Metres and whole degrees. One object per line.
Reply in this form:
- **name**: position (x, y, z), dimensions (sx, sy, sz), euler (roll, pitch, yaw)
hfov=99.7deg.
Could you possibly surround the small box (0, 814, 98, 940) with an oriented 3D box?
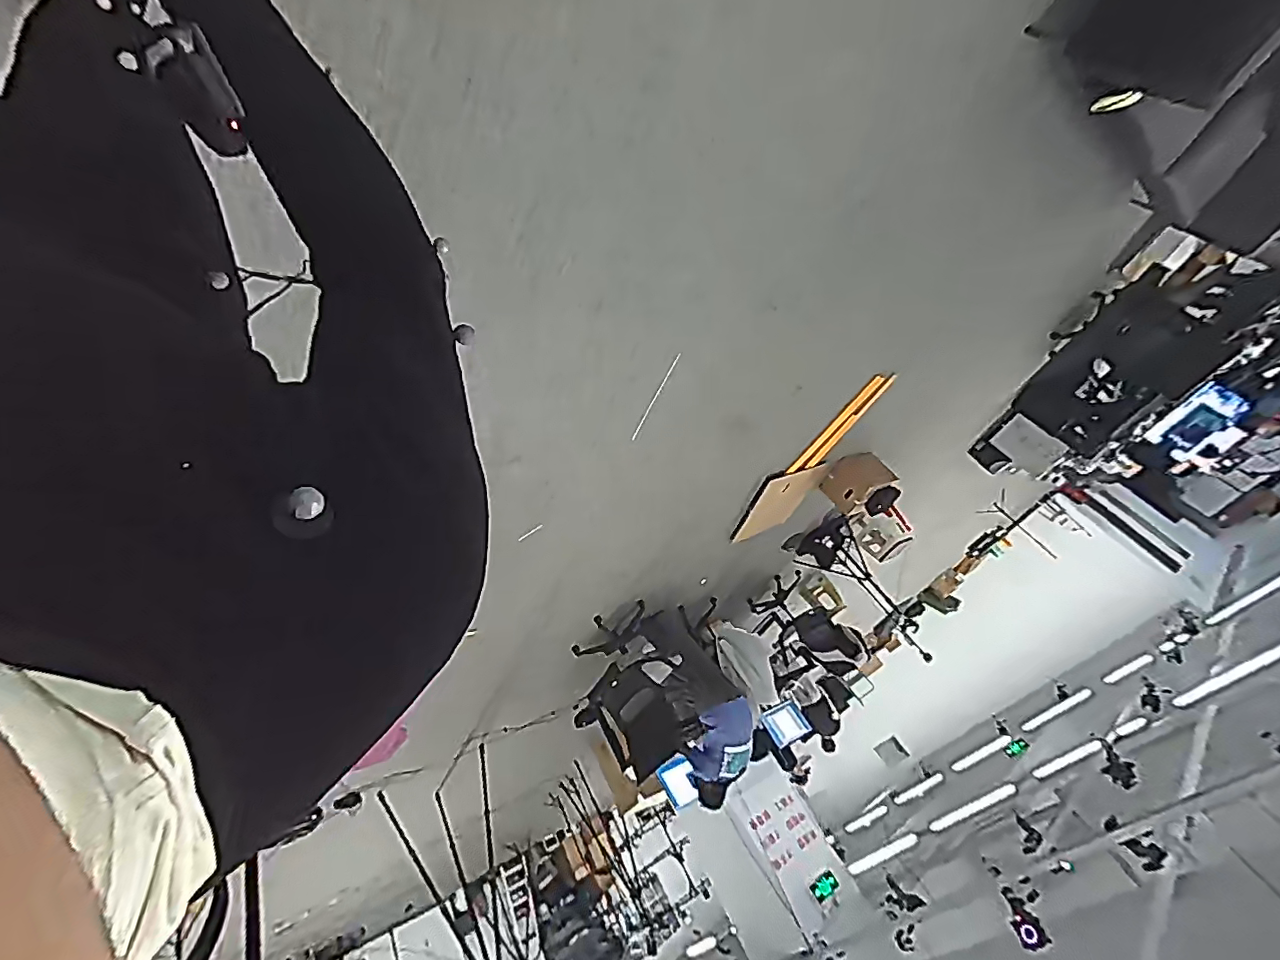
- **small box**: position (-1.423, 0.940, 1.291), dimensions (0.168, 0.176, 0.179), euler (-5, 136, -41)

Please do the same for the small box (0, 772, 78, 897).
- **small box**: position (-1.316, 0.753, 1.138), dimensions (0.168, 0.176, 0.179), euler (-4, 137, -40)

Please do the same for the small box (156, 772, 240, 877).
- **small box**: position (-1.208, 0.930, 1.478), dimensions (0.168, 0.176, 0.179), euler (-3, 137, -41)
